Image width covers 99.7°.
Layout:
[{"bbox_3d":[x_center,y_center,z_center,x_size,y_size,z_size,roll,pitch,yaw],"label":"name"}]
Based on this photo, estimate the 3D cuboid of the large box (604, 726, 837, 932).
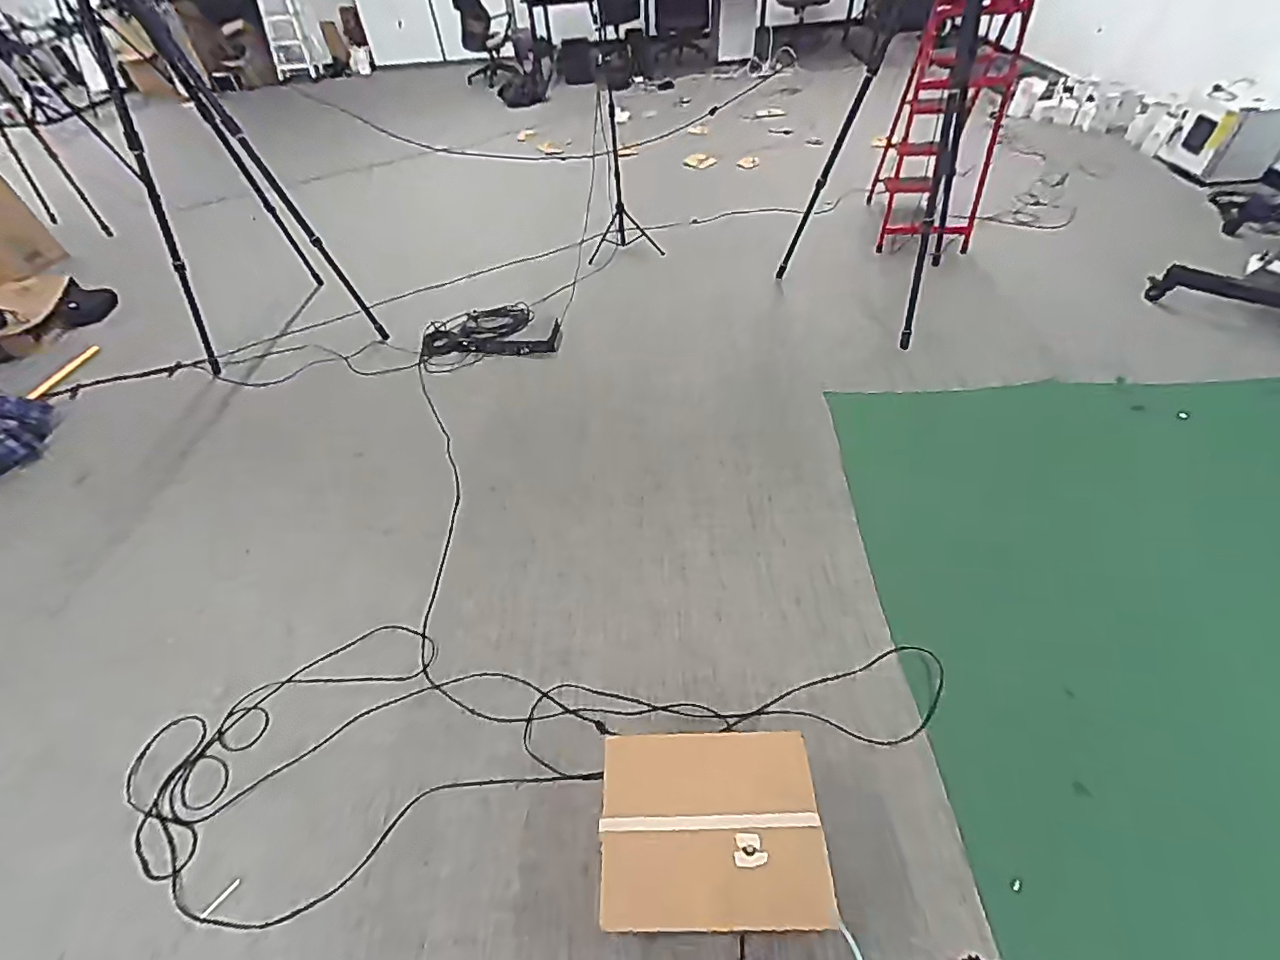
[{"bbox_3d":[0.141,0.727,1.120,0.408,0.320,0.320,-3,50,2],"label":"large box"}]
